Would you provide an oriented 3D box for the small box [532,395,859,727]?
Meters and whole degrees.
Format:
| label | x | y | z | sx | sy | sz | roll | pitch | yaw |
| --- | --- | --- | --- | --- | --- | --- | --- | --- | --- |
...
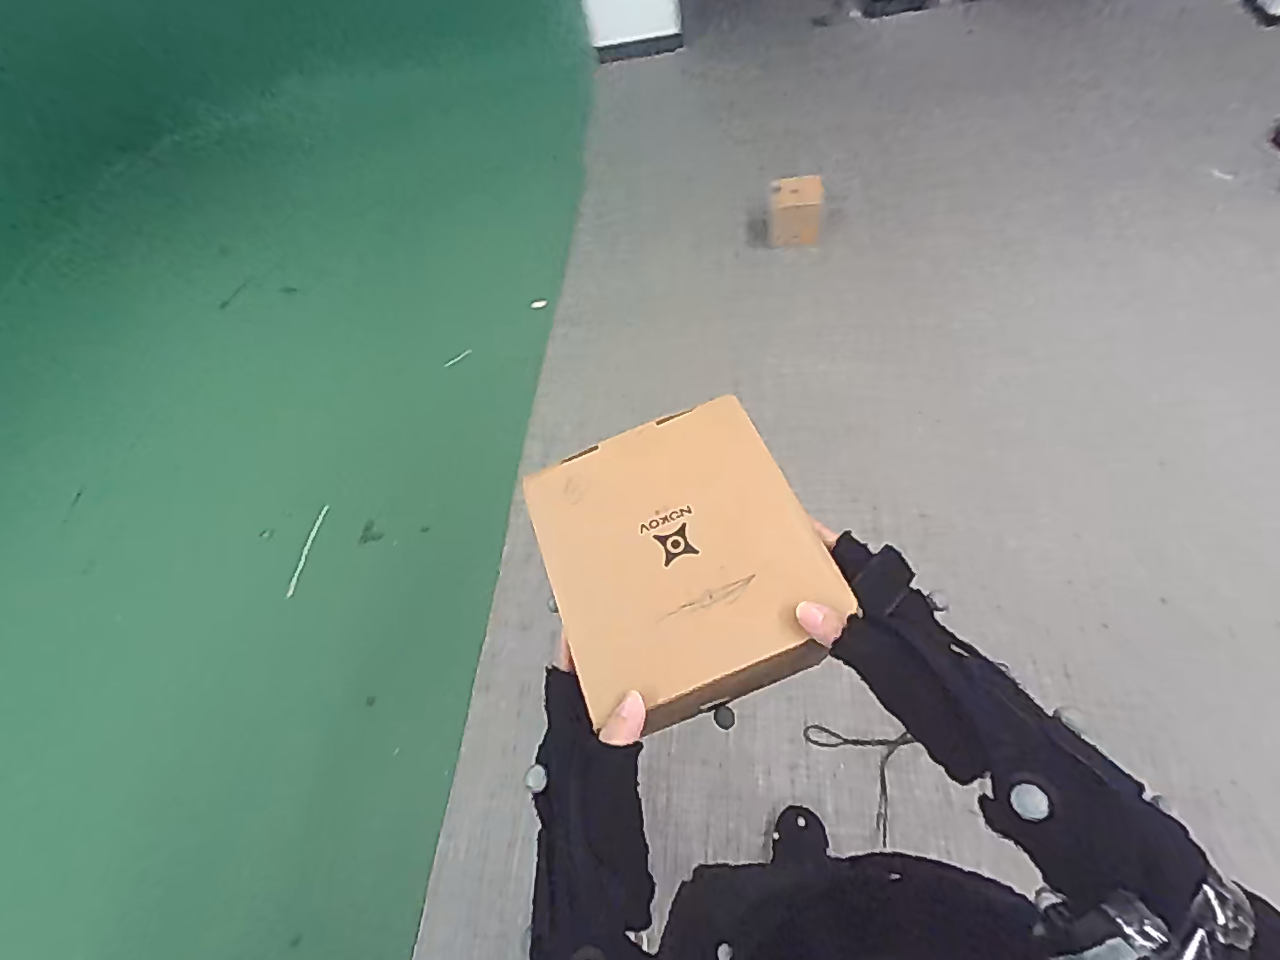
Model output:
| label | x | y | z | sx | sy | sz | roll | pitch | yaw |
| --- | --- | --- | --- | --- | --- | --- | --- | --- | --- |
| small box | 0.035 | 0.072 | 0.418 | 0.168 | 0.176 | 0.179 | -21 | 62 | -2 |

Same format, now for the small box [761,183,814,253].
| label | x | y | z | sx | sy | sz | roll | pitch | yaw |
| --- | --- | --- | --- | --- | --- | --- | --- | --- | --- |
| small box | 0.541 | -0.961 | 1.995 | 0.179 | 0.176 | 0.168 | 1 | 61 | 11 |
